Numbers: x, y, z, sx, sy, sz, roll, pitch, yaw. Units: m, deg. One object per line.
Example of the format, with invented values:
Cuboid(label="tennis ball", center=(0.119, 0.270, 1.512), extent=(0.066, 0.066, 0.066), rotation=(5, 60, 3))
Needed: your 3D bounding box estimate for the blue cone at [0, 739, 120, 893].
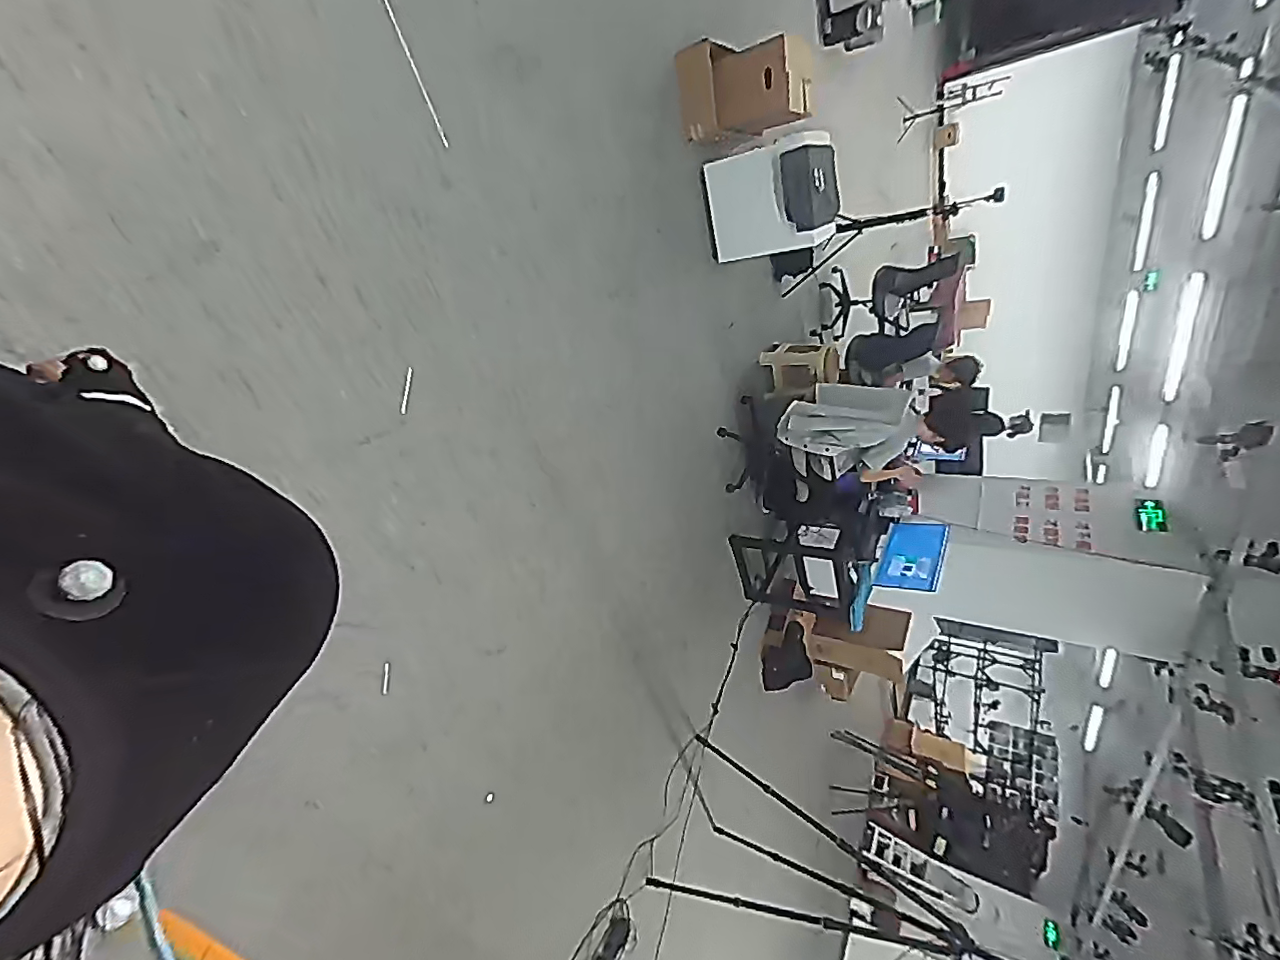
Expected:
Cuboid(label="blue cone", center=(-1.027, 0.632, 0.980), extent=(0.193, 0.380, 0.192), rotation=(16, 80, -57))
